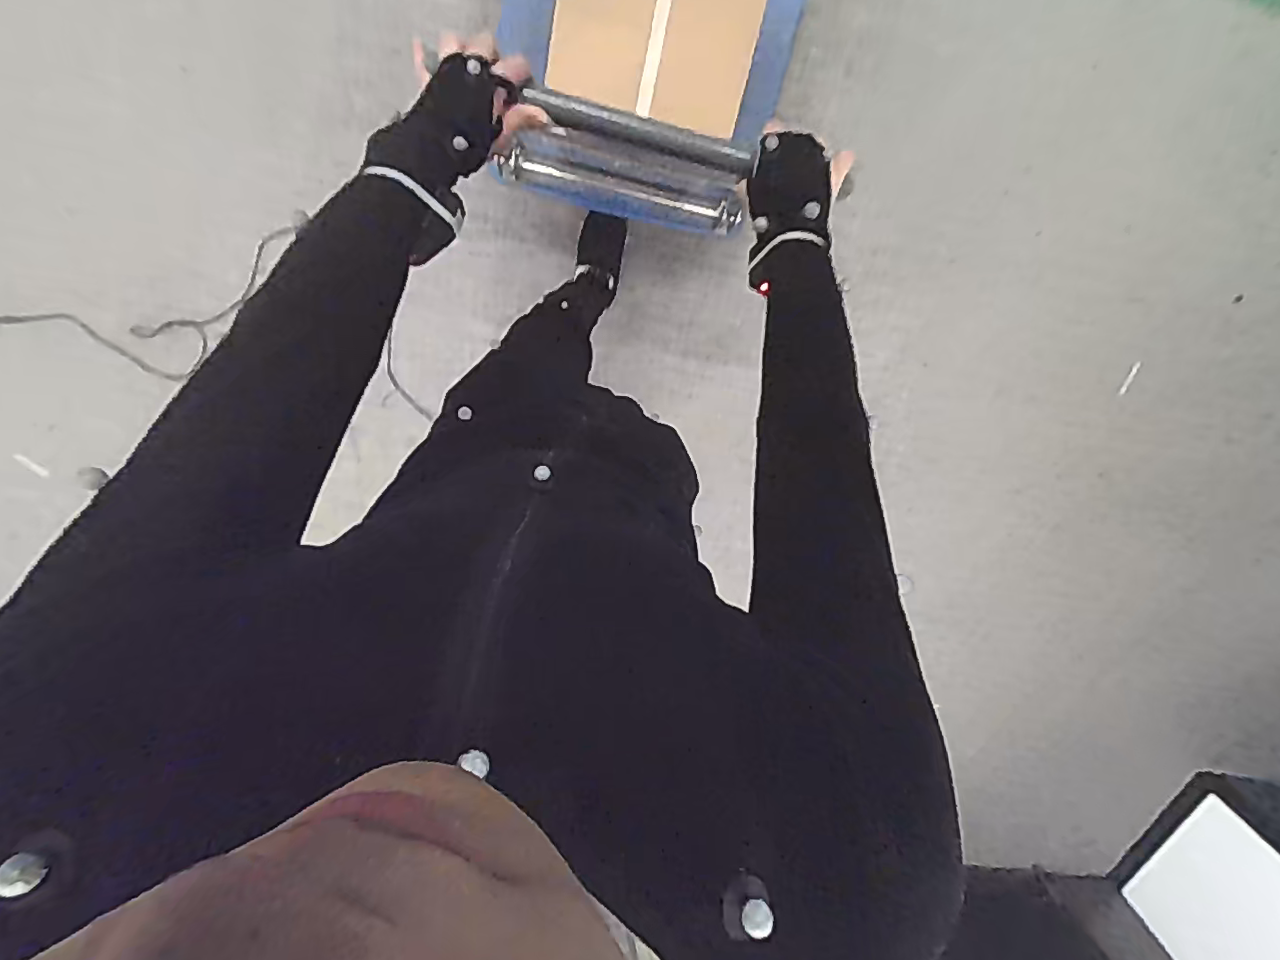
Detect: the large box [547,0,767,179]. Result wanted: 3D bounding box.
[{"bbox_3d":[0.032,-0.796,0.949,0.320,0.320,0.408,10,113,-9],"label":"large box"}]
